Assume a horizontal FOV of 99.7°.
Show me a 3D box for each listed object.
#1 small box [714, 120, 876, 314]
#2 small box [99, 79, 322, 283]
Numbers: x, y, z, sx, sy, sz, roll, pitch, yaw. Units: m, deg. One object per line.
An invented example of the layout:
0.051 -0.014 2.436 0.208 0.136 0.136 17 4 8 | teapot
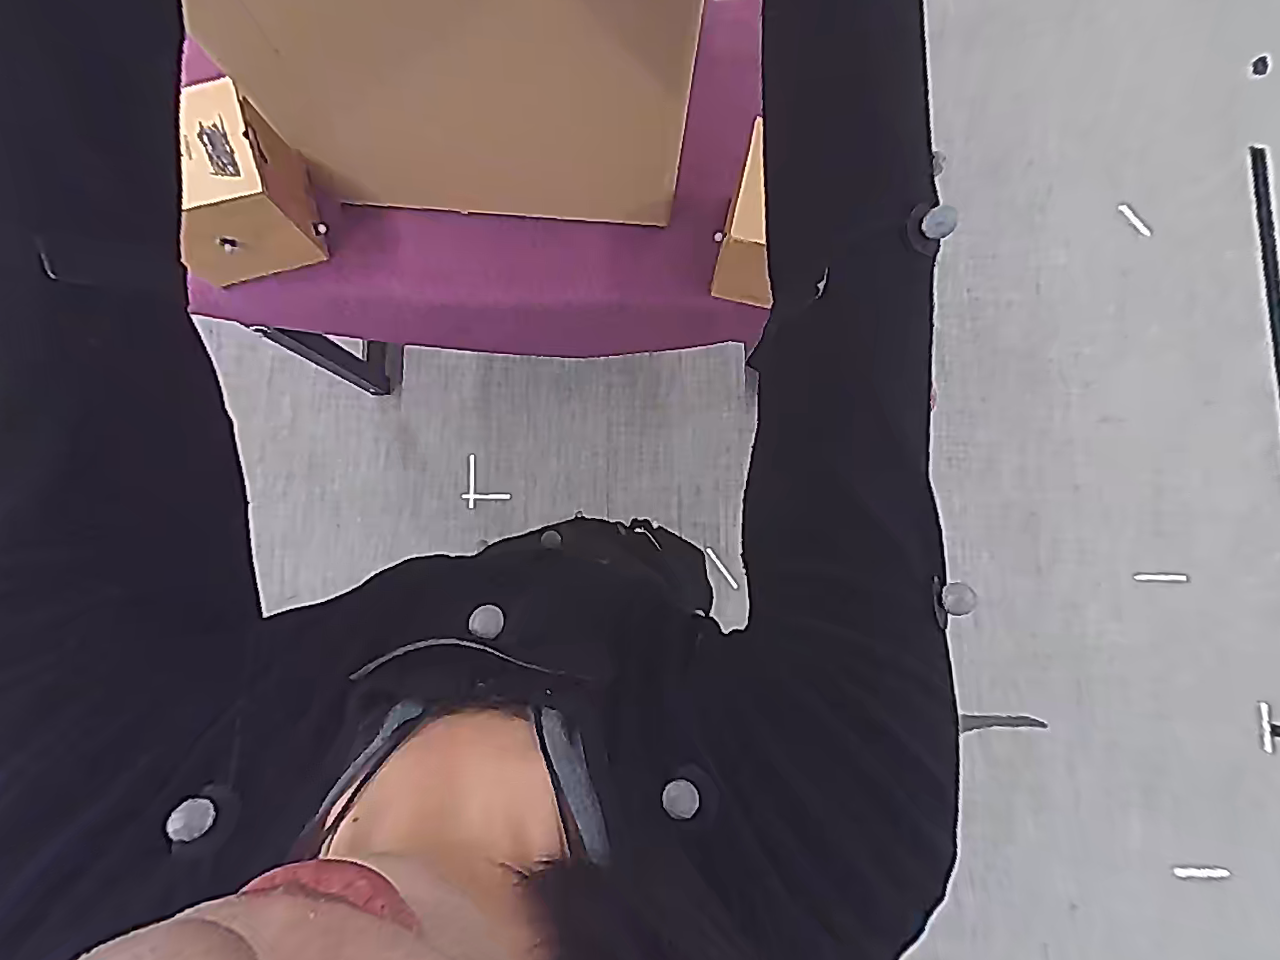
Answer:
0.211 -0.364 0.780 0.168 0.176 0.179 13 82 -1 | small box
-0.577 -0.405 0.757 0.179 0.176 0.168 -17 84 -5 | small box
